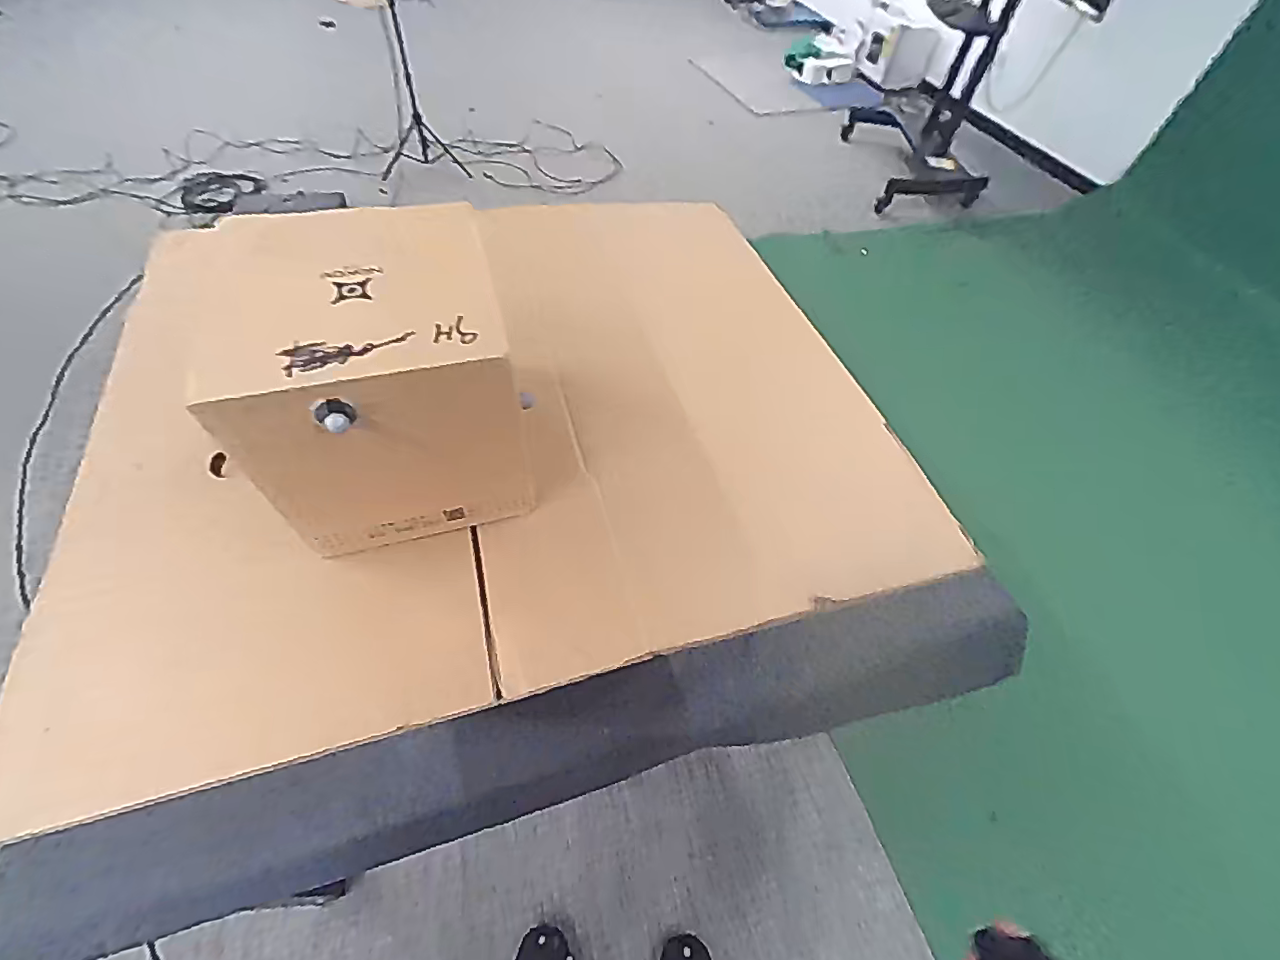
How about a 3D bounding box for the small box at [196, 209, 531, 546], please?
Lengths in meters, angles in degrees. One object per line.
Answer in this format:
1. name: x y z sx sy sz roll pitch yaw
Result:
1. small box: -0.185 -0.077 0.412 0.168 0.176 0.179 -12 55 -13
